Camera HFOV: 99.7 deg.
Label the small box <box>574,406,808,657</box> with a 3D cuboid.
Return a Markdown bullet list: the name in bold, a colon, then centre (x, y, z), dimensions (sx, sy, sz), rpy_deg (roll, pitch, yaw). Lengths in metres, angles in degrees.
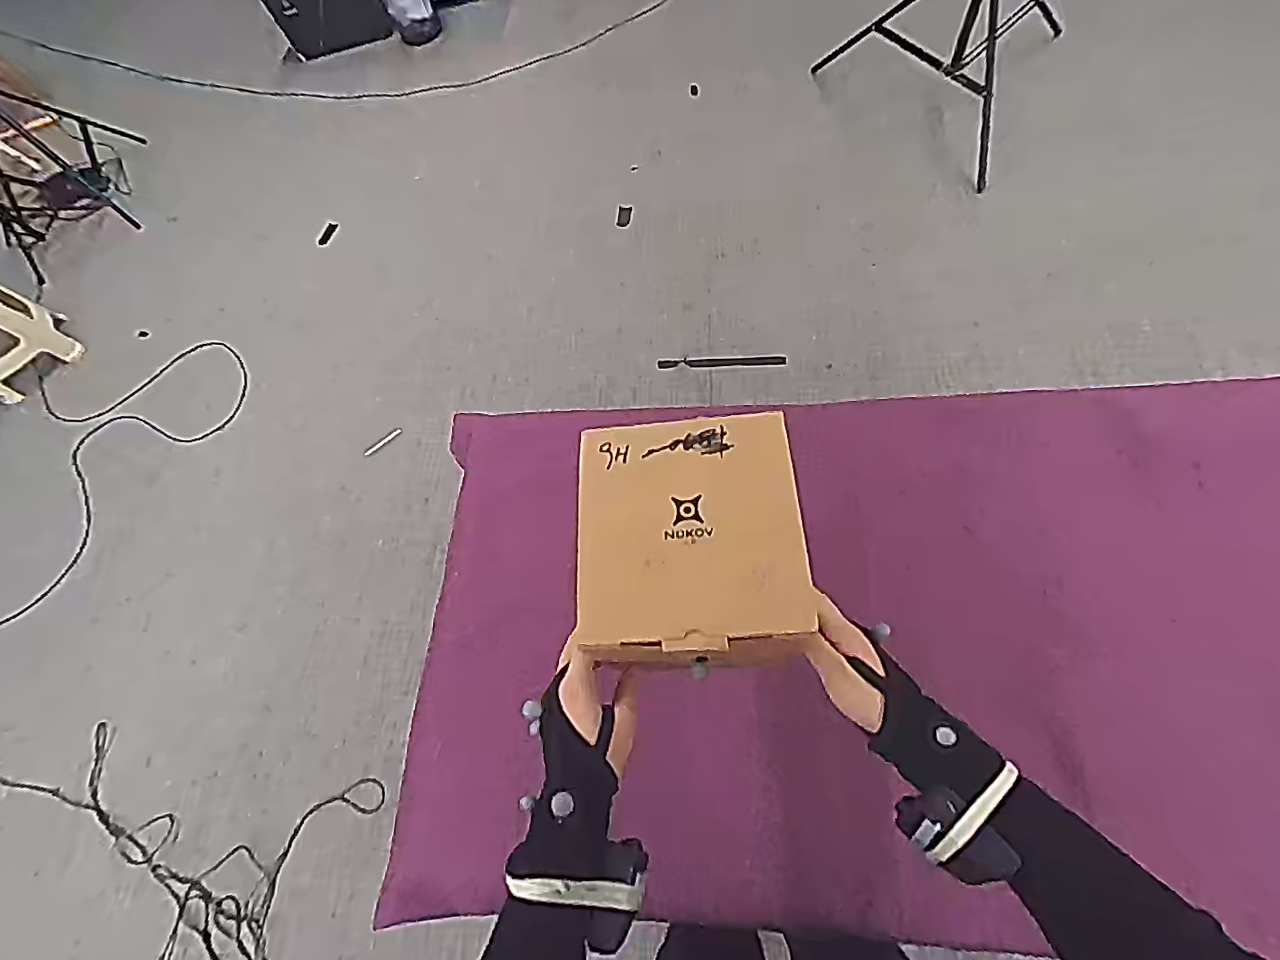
- **small box**: centre (0.045, 0.058, 0.474), dimensions (0.168, 0.176, 0.179), rpy_deg (-5, 65, 7)
